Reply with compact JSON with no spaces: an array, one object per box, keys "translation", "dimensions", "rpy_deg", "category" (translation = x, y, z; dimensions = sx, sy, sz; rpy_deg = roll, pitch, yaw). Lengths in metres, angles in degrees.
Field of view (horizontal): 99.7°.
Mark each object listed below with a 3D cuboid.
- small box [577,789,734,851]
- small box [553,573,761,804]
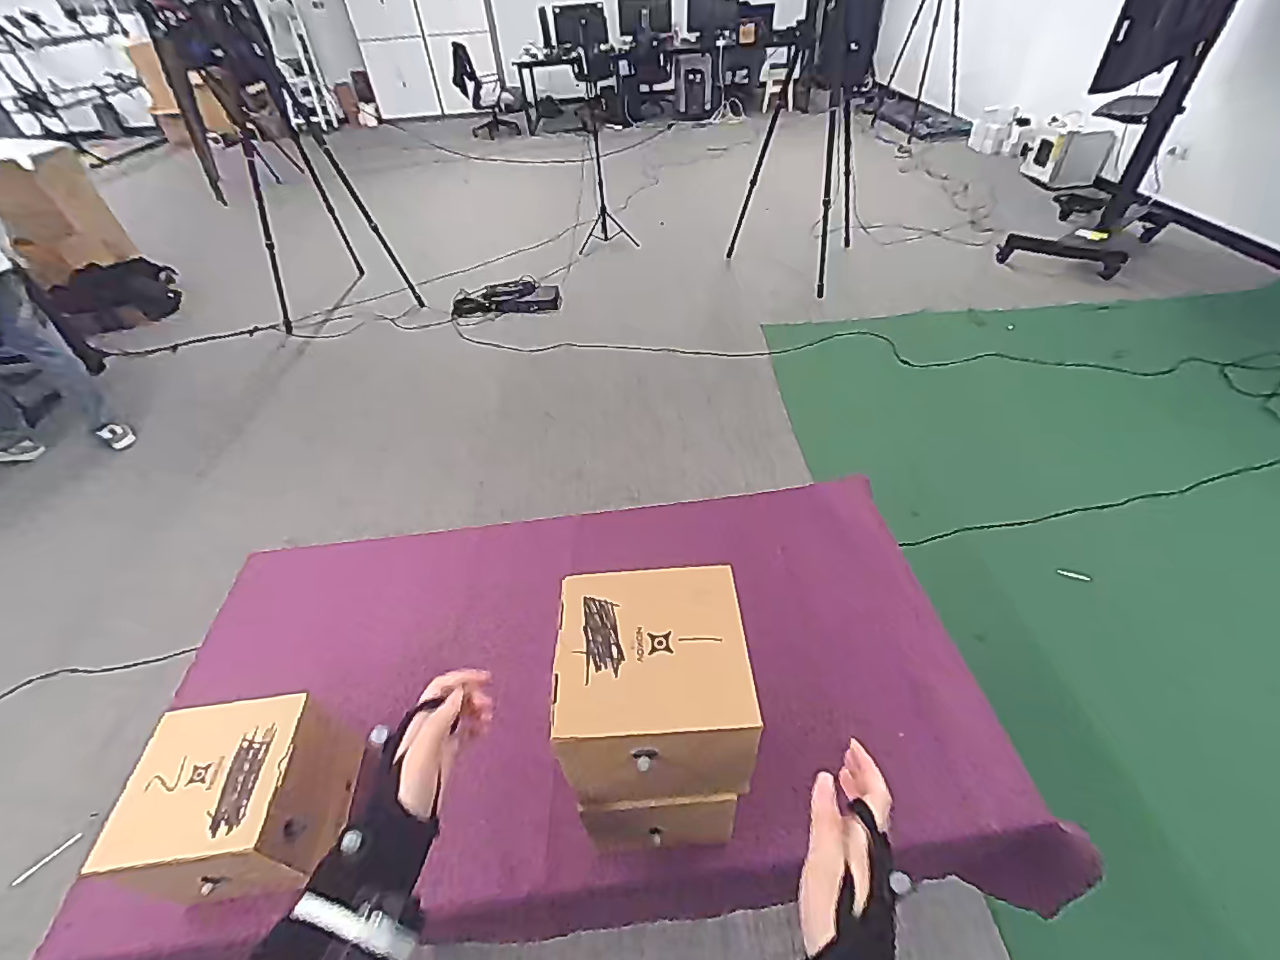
[{"translation":[0.019,0.337,0.665],"dimensions":[0.168,0.176,0.179],"rpy_deg":[-4,43,0],"category":"small box"},{"translation":[0.017,0.215,0.554],"dimensions":[0.179,0.176,0.168],"rpy_deg":[-3,44,0],"category":"small box"}]
